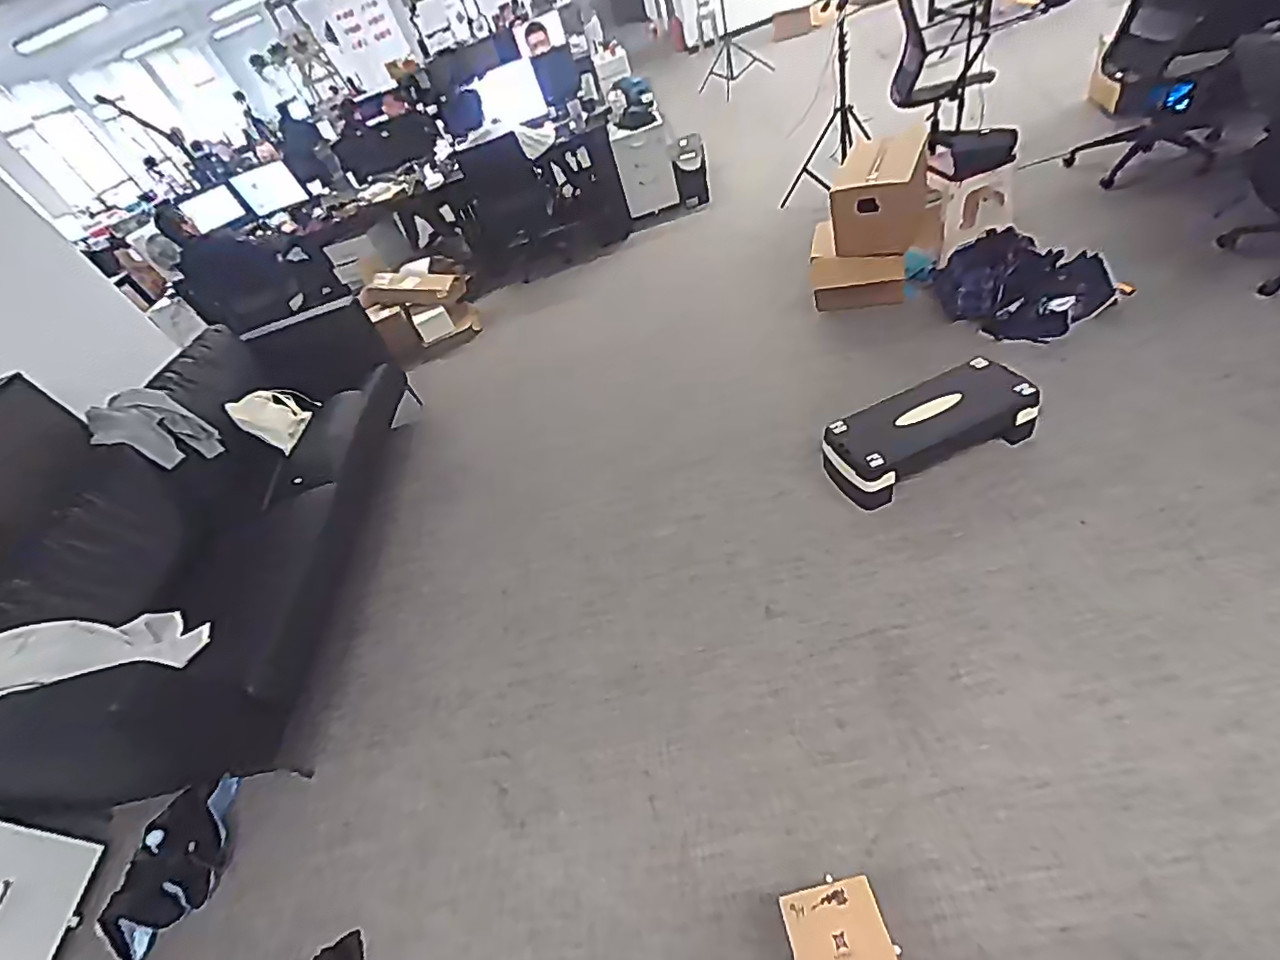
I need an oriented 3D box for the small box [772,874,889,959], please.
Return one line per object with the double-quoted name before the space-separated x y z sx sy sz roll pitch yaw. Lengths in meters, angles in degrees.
"small box" 0.354 0.848 0.981 0.168 0.176 0.179 -18 44 5
